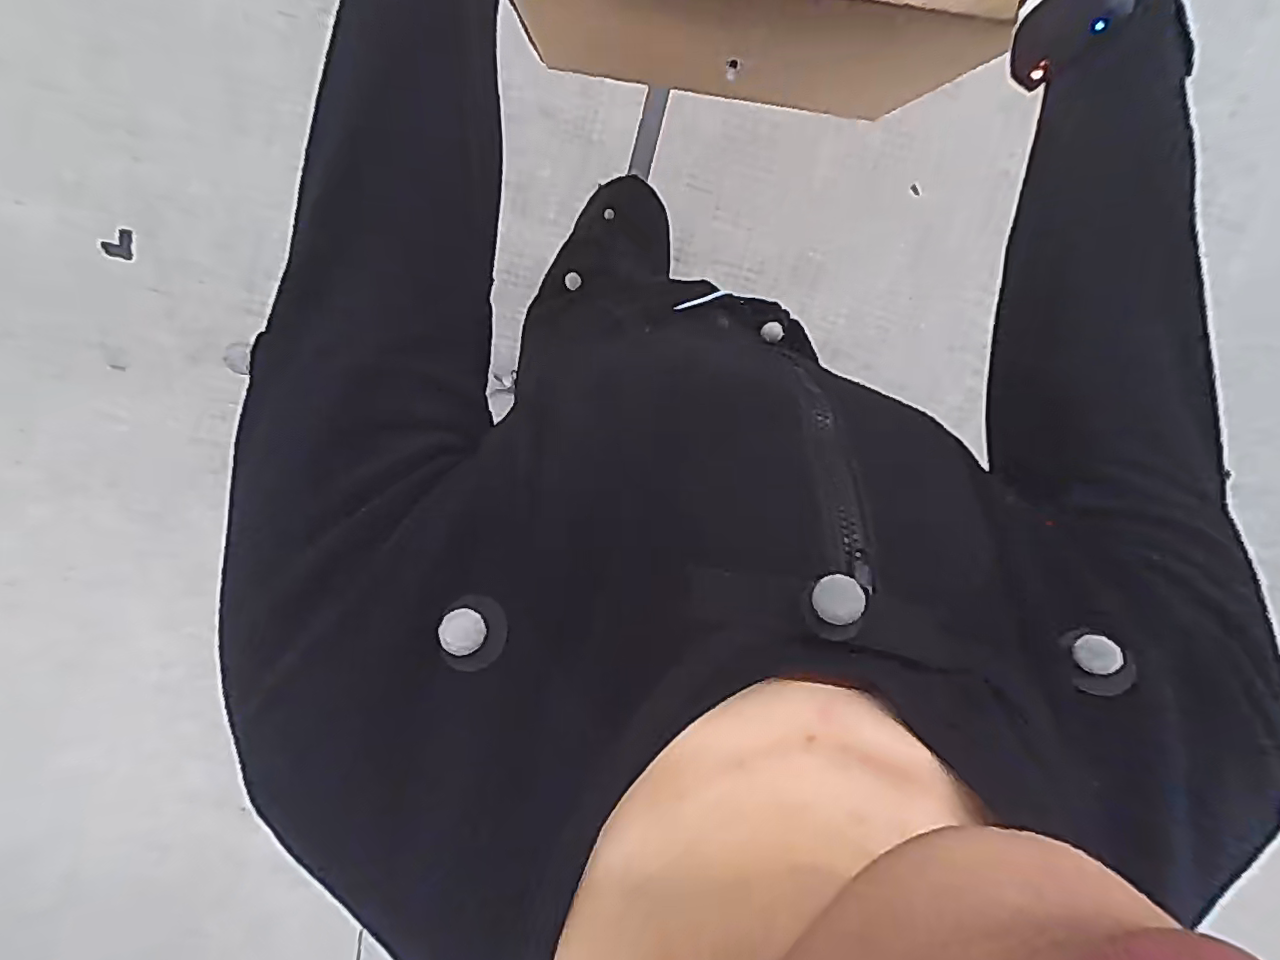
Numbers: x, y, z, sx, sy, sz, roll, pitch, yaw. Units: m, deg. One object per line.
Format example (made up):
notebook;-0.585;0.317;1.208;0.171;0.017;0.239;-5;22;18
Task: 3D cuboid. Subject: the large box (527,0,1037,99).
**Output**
large box;0.111;-0.558;0.454;0.408;0.320;0.320;7;113;-3
